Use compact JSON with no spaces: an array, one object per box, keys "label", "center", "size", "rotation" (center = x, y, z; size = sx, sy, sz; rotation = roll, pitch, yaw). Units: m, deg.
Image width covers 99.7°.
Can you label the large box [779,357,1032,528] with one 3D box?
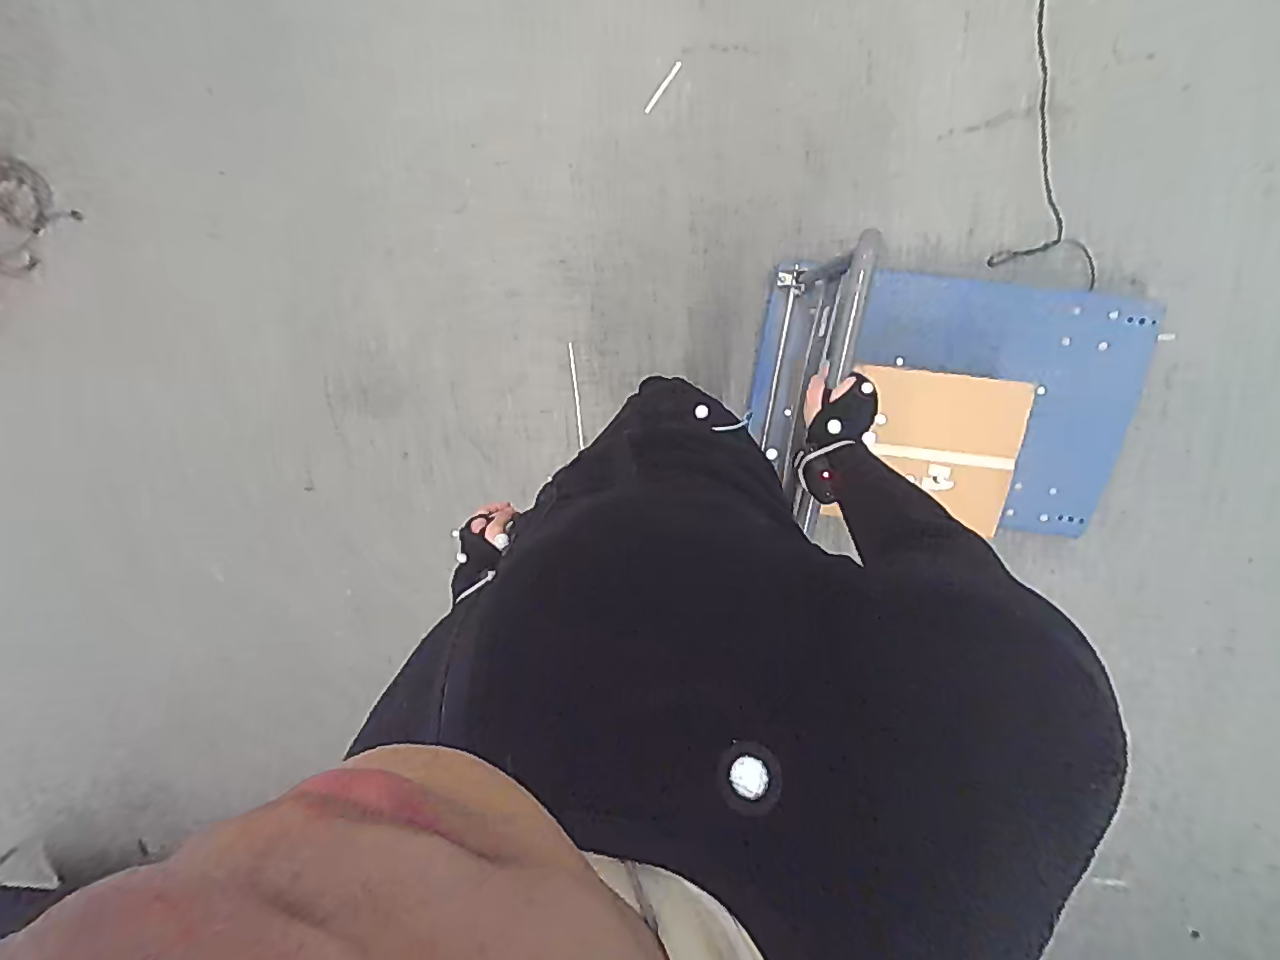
[{"label":"large box","center":[0.554,-0.106,1.226],"size":[0.408,0.320,0.320],"rotation":[8,106,5]}]
